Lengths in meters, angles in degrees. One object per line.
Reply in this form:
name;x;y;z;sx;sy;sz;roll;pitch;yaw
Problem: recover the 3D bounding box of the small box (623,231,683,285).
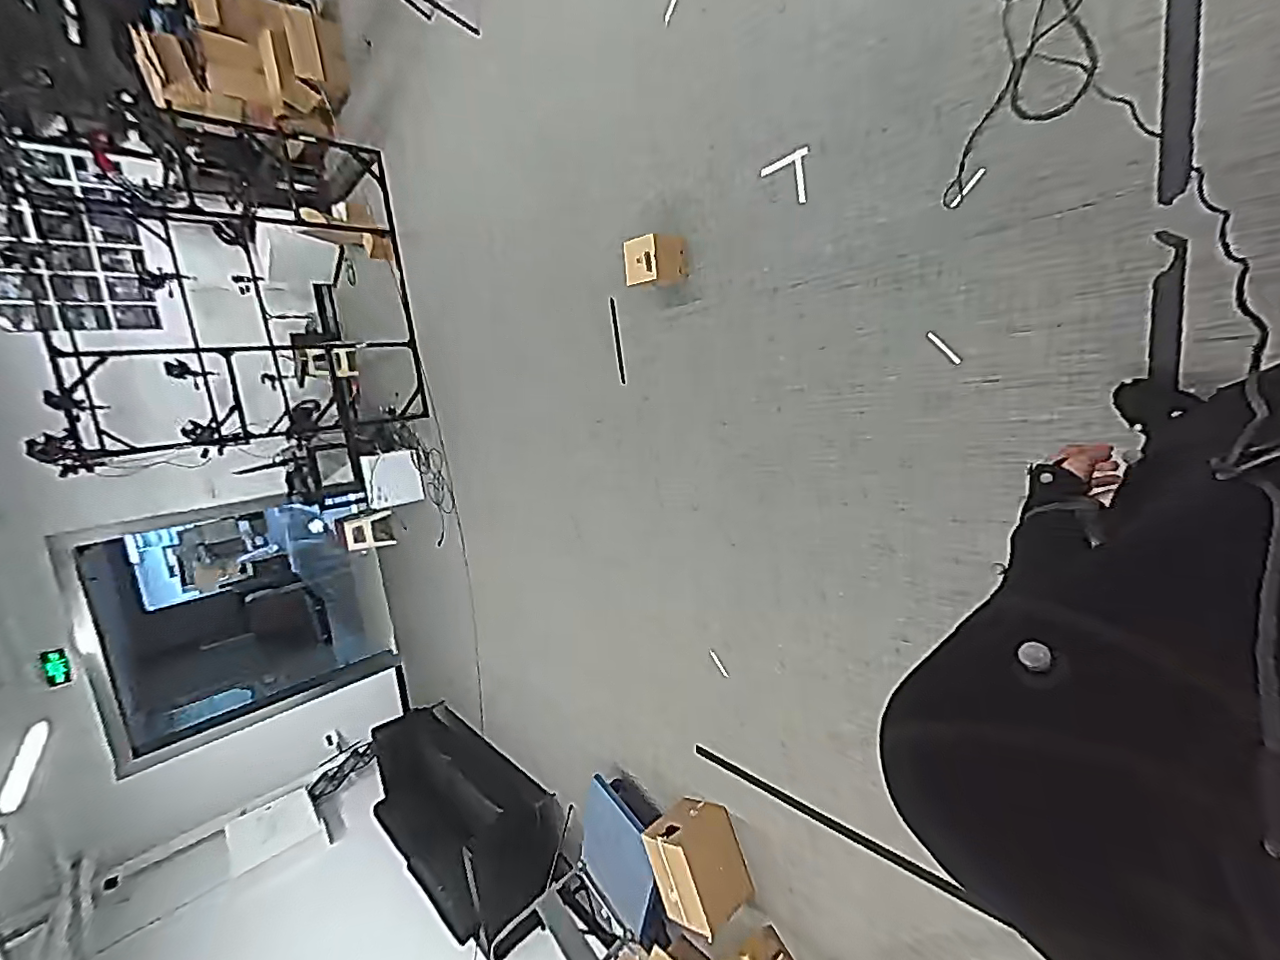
small box;0.056;-0.864;2.115;0.179;0.176;0.168;9;108;48
